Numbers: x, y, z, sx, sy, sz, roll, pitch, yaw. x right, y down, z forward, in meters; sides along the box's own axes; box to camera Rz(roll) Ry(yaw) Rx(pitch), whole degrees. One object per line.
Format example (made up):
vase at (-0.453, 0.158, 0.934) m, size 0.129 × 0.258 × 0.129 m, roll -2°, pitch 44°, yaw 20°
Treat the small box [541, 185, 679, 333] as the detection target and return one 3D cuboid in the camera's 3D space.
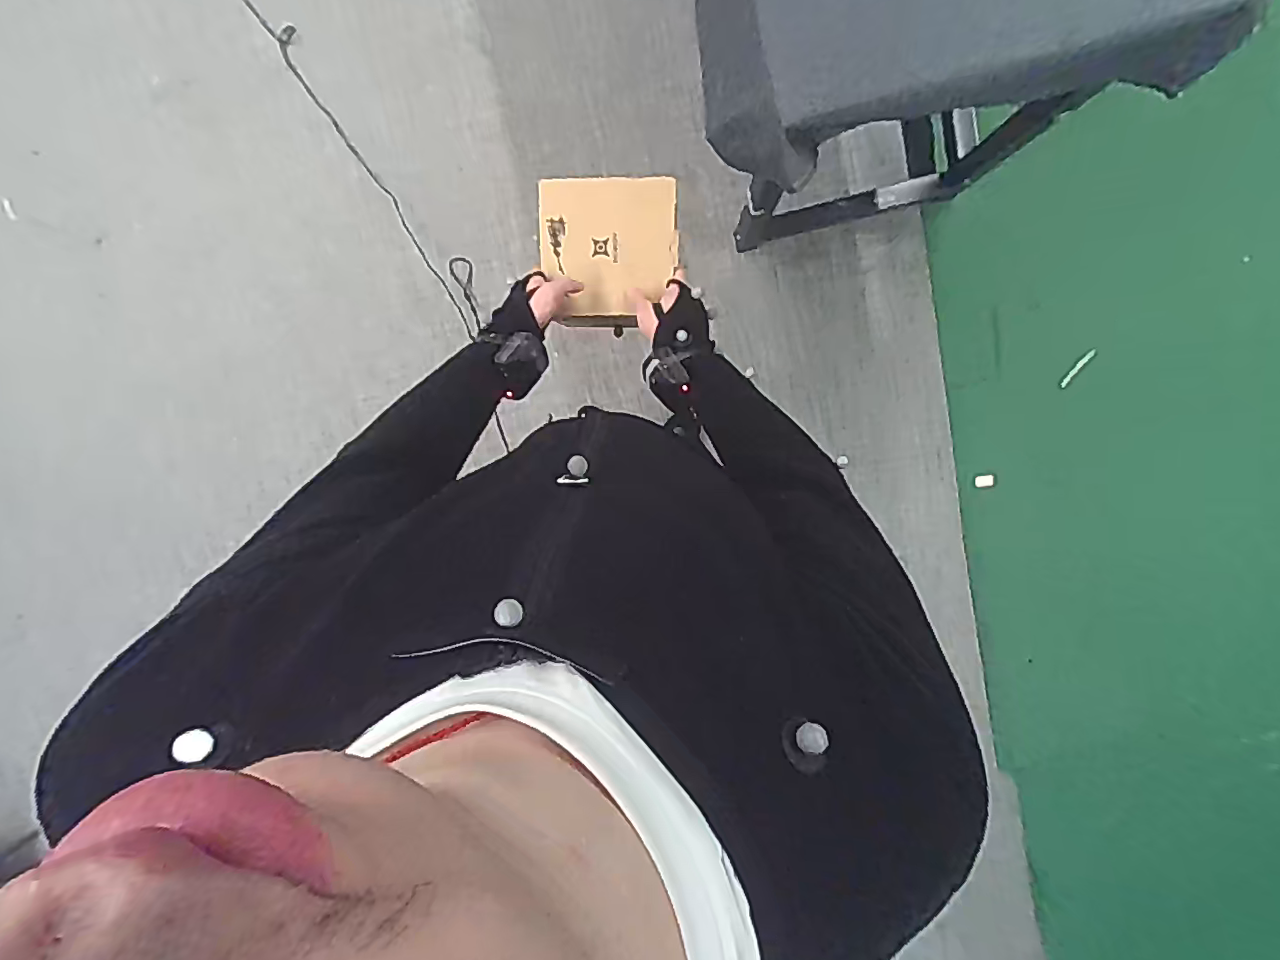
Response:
small box at (-0.037, -0.301, 0.766) m, size 0.179 × 0.176 × 0.168 m, roll 1°, pitch 101°, yaw 2°
